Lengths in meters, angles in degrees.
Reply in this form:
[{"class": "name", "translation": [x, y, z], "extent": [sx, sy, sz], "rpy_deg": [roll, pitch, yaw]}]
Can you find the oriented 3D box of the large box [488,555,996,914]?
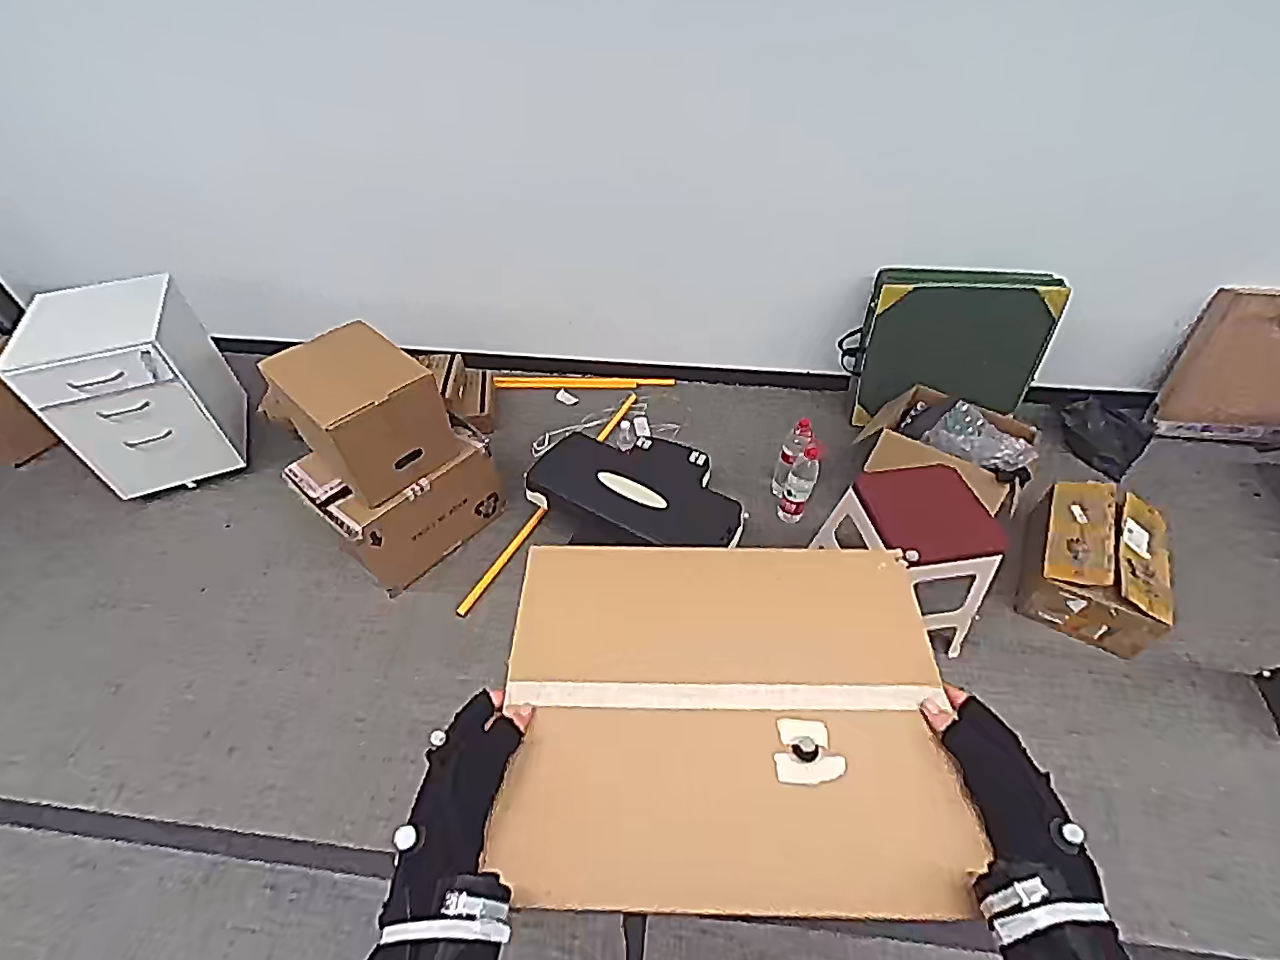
[{"class": "large box", "translation": [0.079, 0.297, 0.623], "extent": [0.408, 0.320, 0.320], "rpy_deg": [1, 53, 1]}]
